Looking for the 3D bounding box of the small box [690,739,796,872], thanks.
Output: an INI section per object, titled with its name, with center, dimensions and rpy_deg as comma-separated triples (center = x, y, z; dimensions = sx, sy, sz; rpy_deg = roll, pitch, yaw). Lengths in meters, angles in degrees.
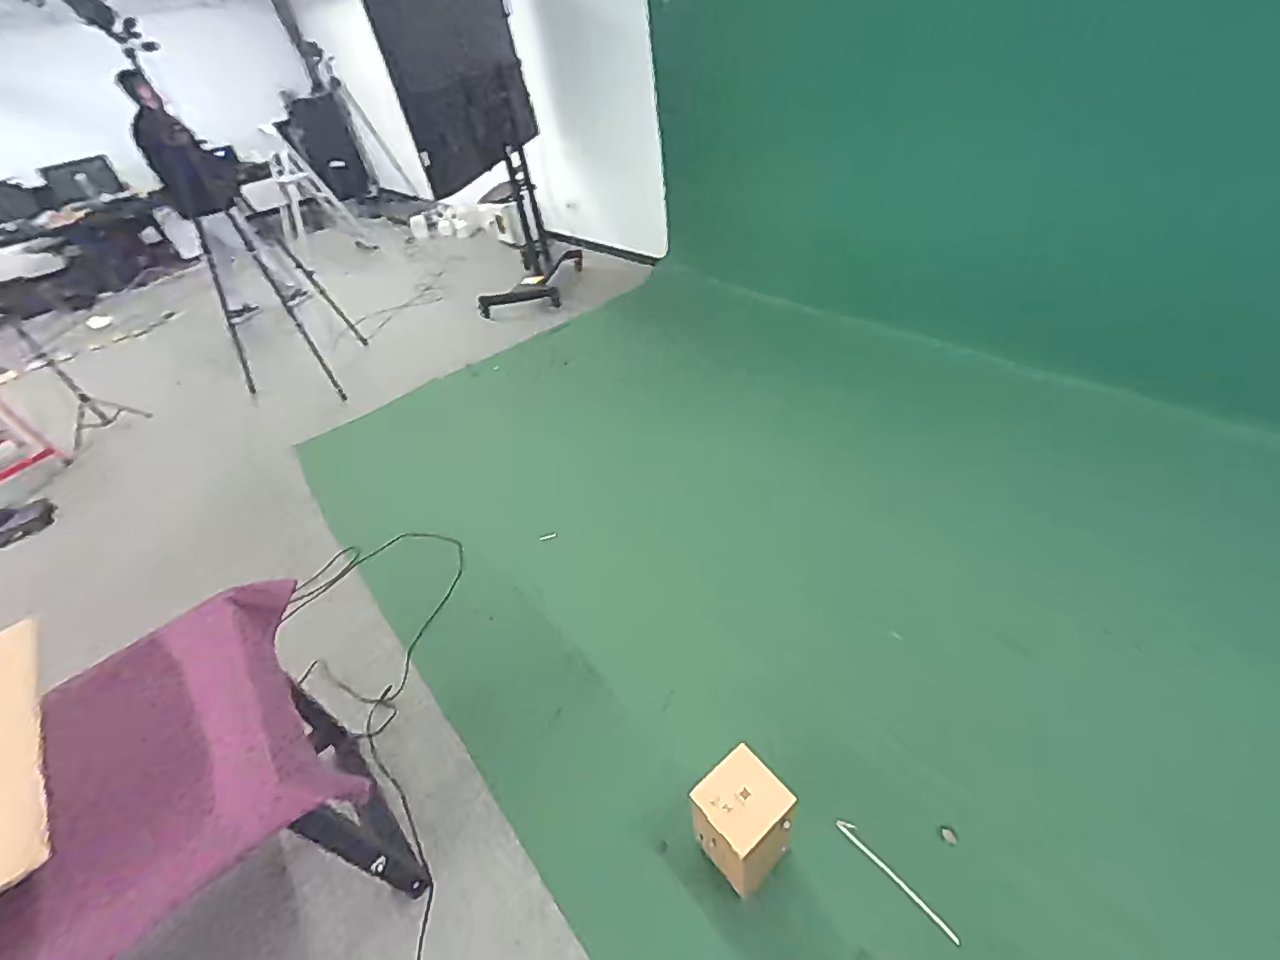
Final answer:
[small box]
center = 0.232, 0.748, 1.243
dimensions = 0.179, 0.176, 0.168
rpy_deg = -31, 45, -23
